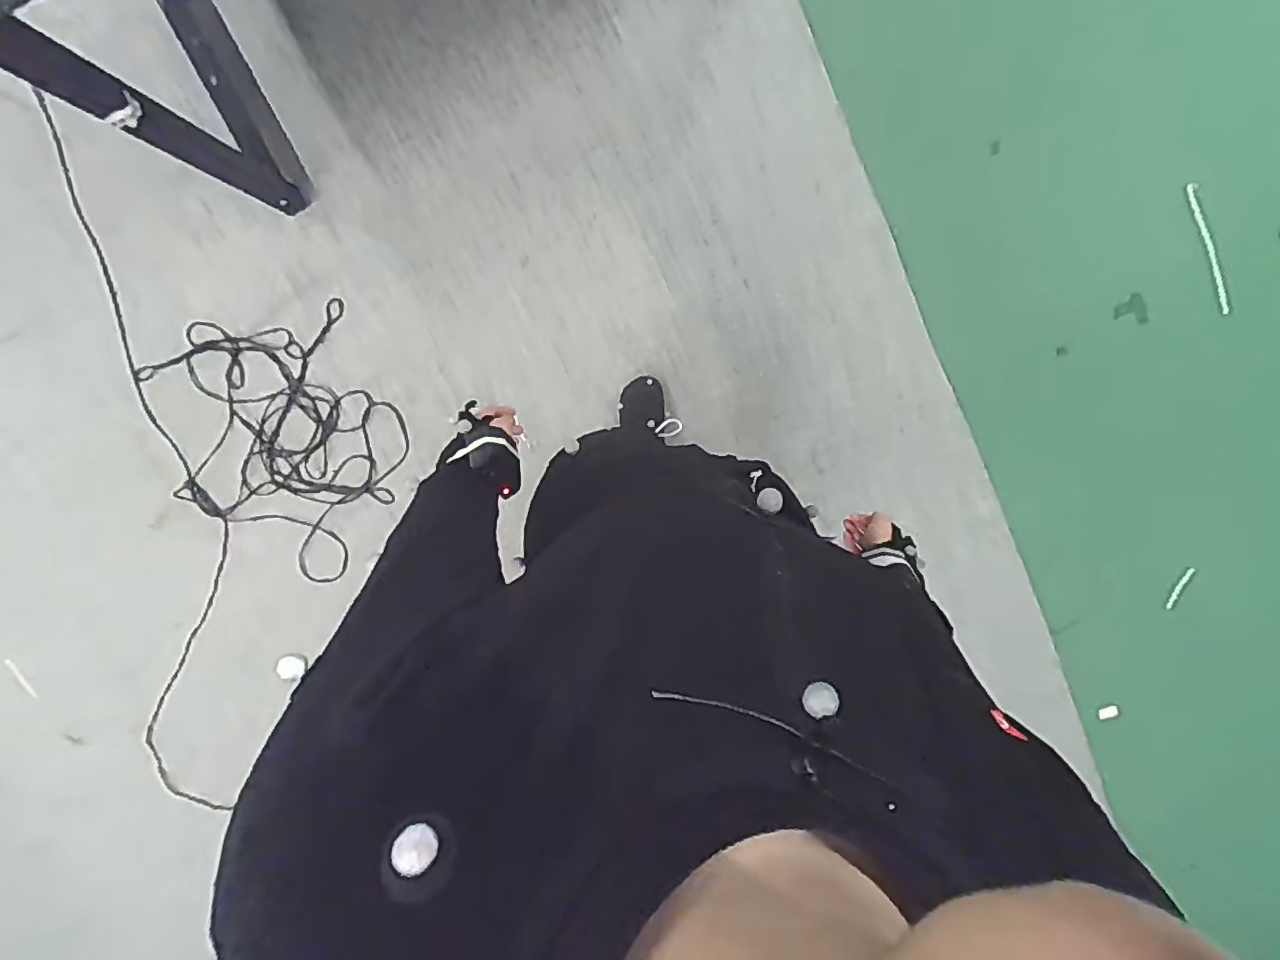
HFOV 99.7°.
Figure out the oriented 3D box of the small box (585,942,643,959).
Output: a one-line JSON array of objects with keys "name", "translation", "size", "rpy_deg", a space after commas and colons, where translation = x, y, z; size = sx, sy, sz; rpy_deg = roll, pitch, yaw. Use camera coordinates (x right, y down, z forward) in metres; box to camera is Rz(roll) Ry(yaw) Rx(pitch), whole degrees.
[{"name": "small box", "translation": [-0.058, 1.416, 1.459], "size": [0.168, 0.176, 0.179], "rpy_deg": [-26, 96, 4]}]
